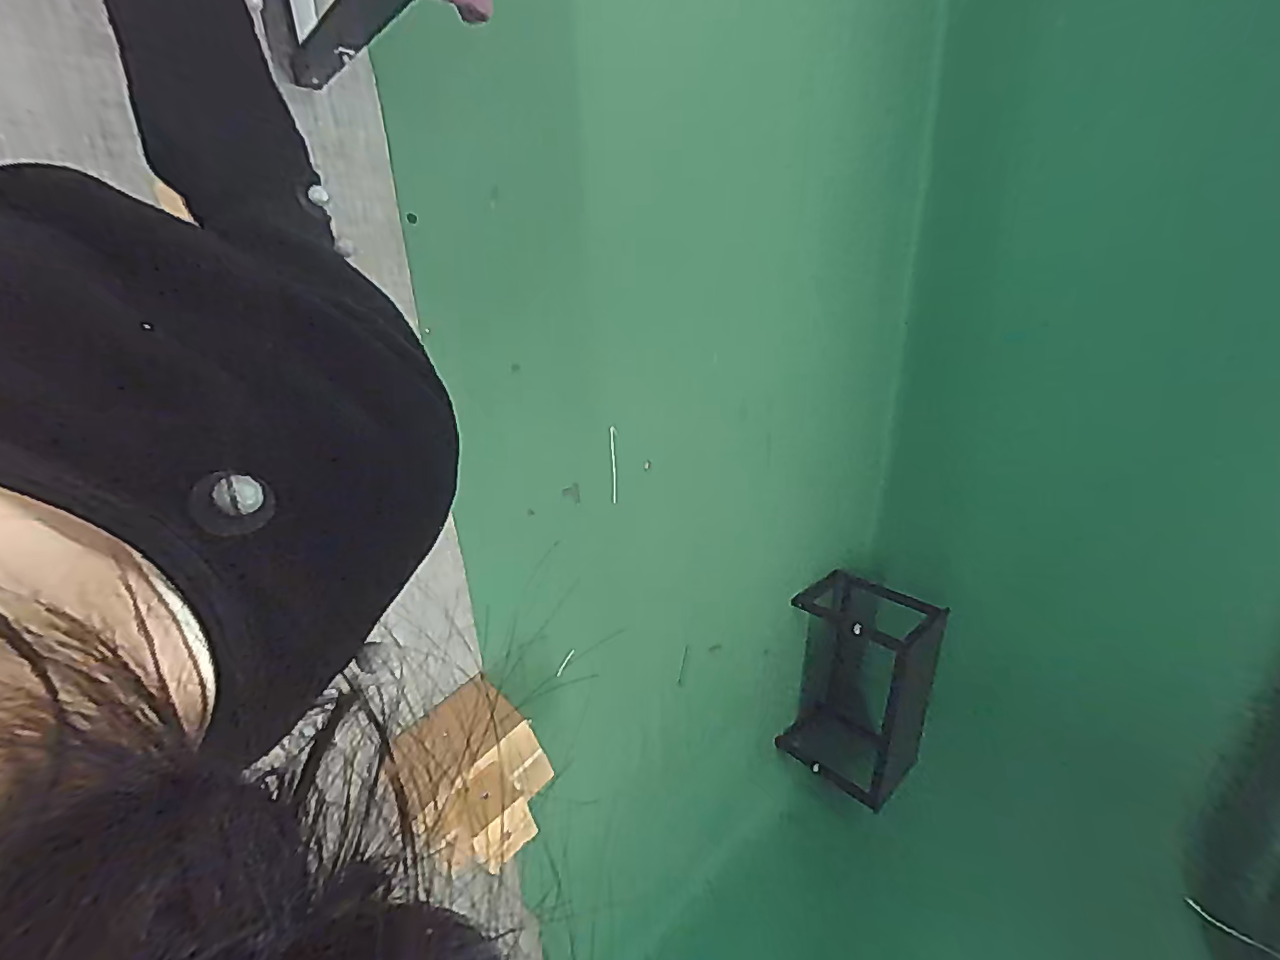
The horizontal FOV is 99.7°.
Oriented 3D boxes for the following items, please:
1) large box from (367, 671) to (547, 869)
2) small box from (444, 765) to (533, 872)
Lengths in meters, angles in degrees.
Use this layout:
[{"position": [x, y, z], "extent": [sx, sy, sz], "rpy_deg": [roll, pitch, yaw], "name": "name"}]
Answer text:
[{"position": [-0.587, 0.921, 1.763], "extent": [0.408, 0.320, 0.320], "rpy_deg": [-36, 128, -33], "name": "large box"}, {"position": [-0.440, 0.967, 1.565], "extent": [0.168, 0.176, 0.179], "rpy_deg": [-29, 123, -34], "name": "small box"}]
